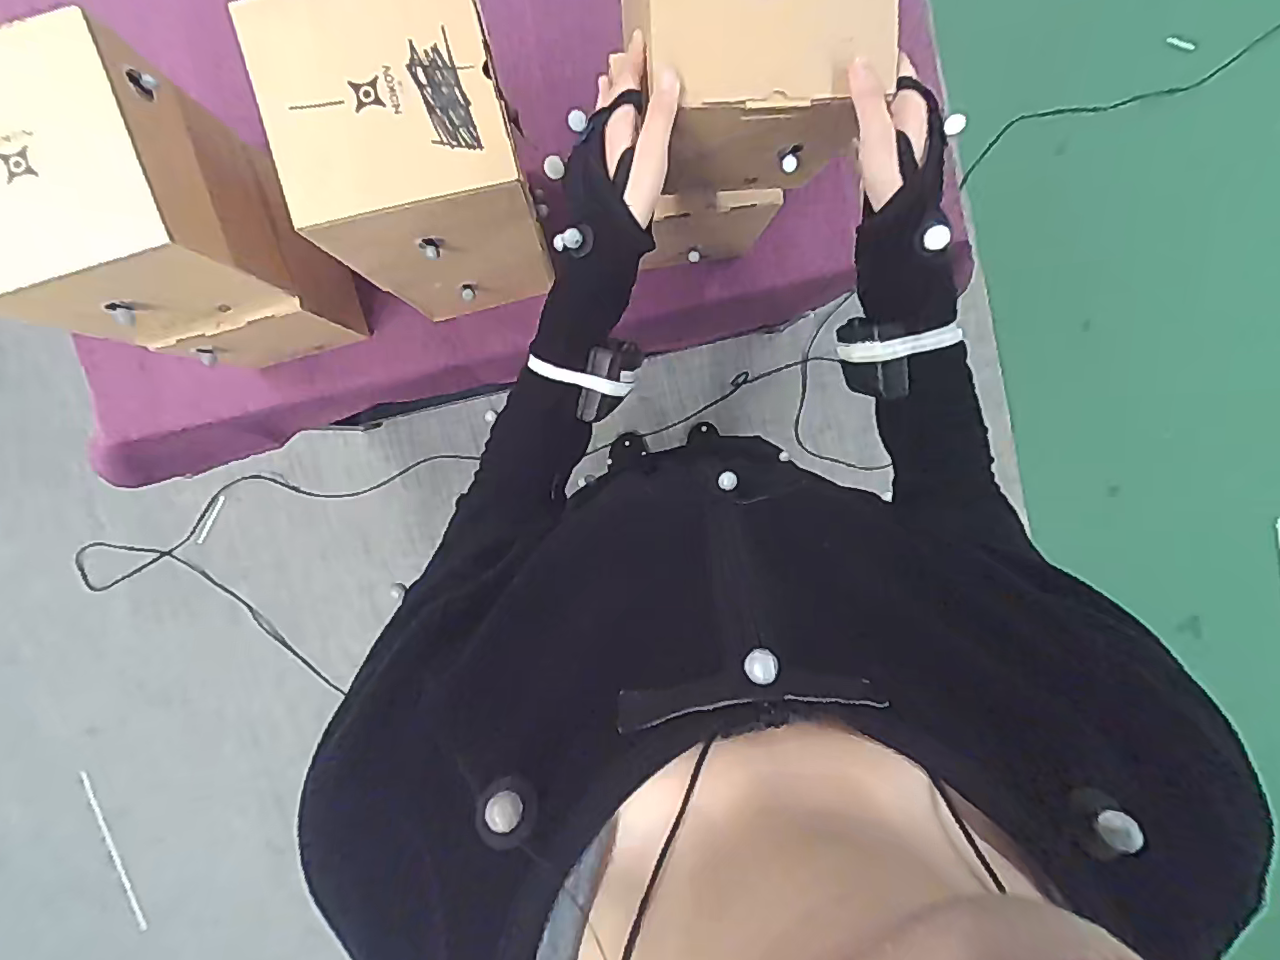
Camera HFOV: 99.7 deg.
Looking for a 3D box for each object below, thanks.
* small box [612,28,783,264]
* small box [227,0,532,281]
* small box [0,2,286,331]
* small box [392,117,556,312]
[{"bbox_3d":[0.058,-0.383,0.649,0.168,0.176,0.179,-9,95,-1],"label":"small box"},{"bbox_3d":[-0.200,-0.294,0.478,0.179,0.176,0.168,-13,95,-1],"label":"small box"},{"bbox_3d":[-0.455,-0.242,0.471,0.168,0.176,0.179,-18,94,-2],"label":"small box"},{"bbox_3d":[-0.211,-0.313,0.642,0.179,0.176,0.168,-15,96,-2],"label":"small box"}]
